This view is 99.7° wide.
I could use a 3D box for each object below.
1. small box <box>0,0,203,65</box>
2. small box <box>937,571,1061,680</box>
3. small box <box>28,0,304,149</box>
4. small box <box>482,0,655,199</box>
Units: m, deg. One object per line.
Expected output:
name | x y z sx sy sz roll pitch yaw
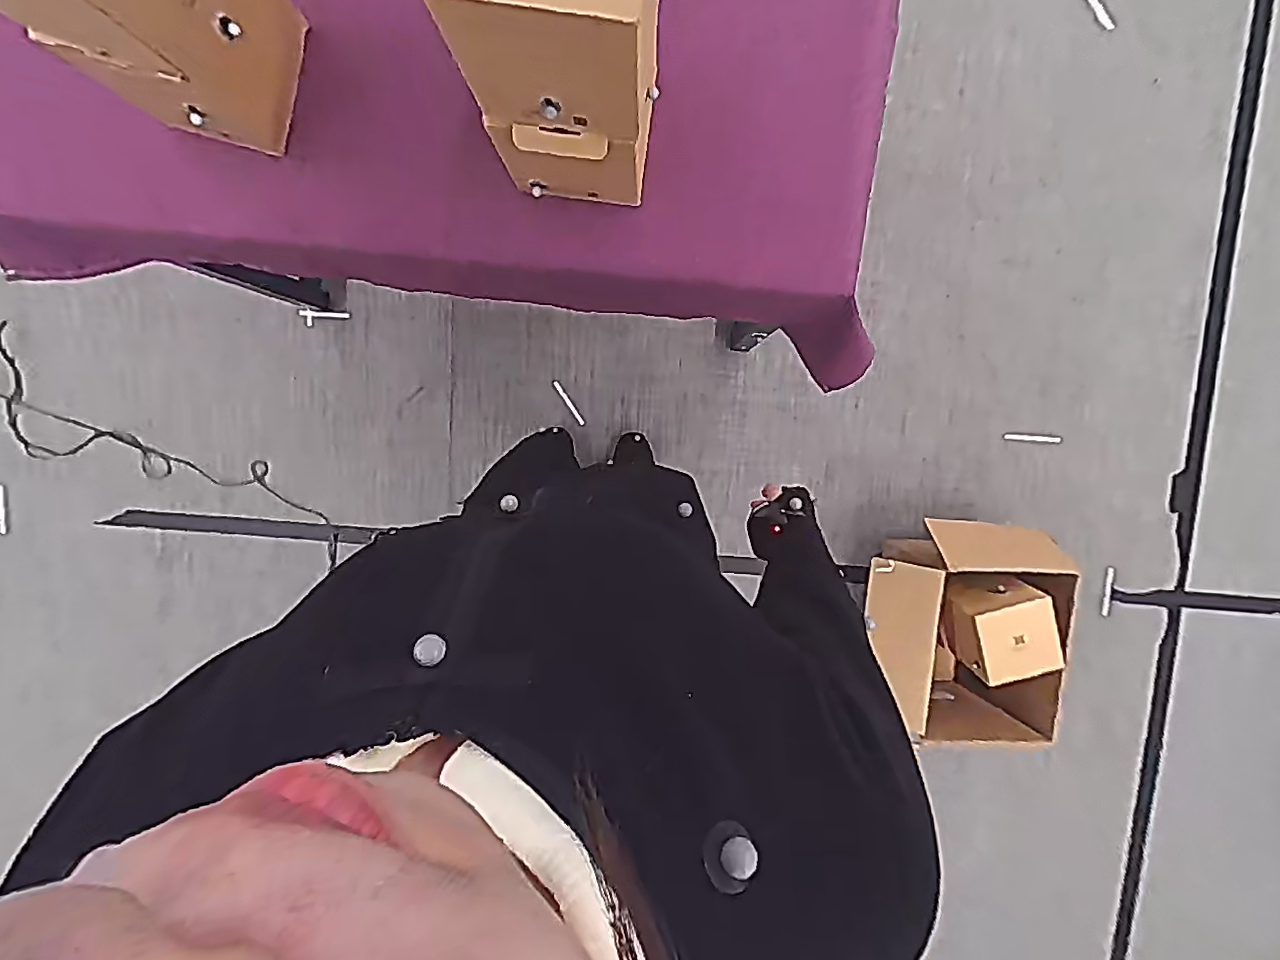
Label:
small box | -0.527 -0.512 0.469 0.179 0.176 0.168 17 97 -2
small box | 0.826 0.327 1.260 0.168 0.176 0.179 -17 100 4
small box | -0.532 -0.529 0.632 0.168 0.176 0.179 15 96 -2
small box | -0.073 -0.457 0.634 0.168 0.176 0.179 7 95 0
